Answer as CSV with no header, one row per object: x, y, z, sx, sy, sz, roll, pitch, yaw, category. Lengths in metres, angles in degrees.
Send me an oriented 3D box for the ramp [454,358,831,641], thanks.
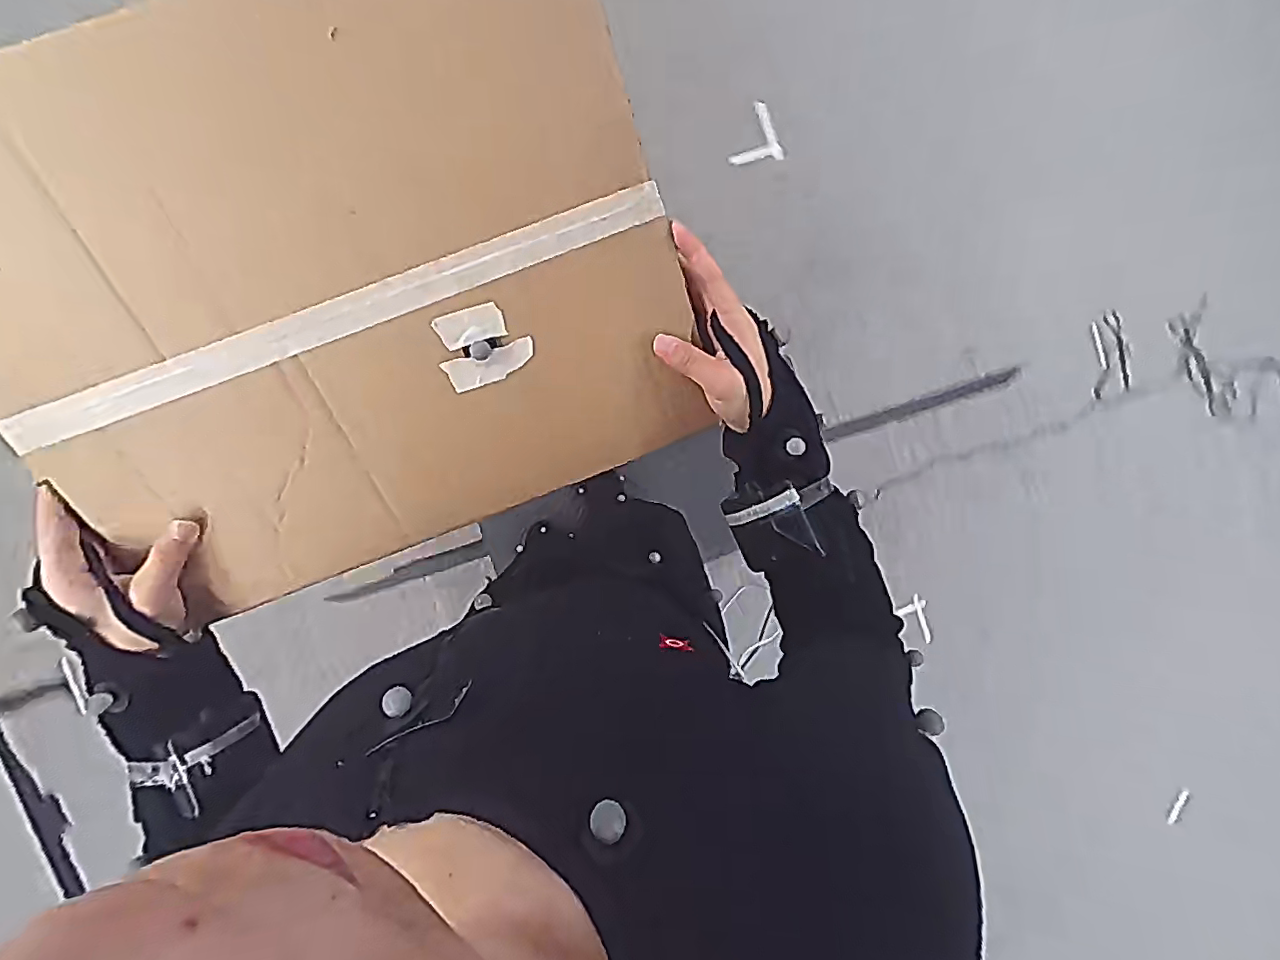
0.063,0.015,1.482,0.991,0.206,0.509,-21,93,-8,ramp
